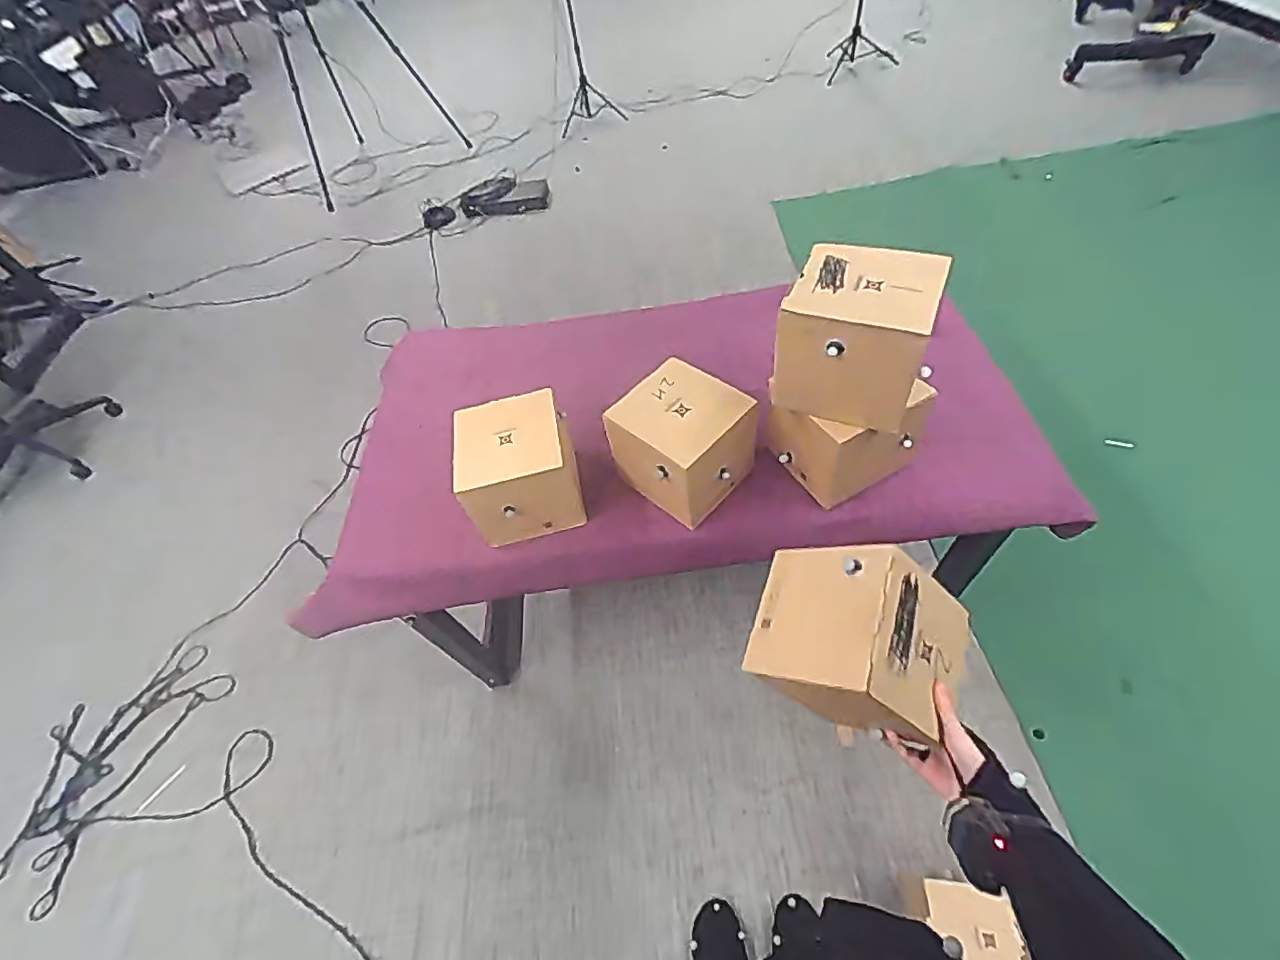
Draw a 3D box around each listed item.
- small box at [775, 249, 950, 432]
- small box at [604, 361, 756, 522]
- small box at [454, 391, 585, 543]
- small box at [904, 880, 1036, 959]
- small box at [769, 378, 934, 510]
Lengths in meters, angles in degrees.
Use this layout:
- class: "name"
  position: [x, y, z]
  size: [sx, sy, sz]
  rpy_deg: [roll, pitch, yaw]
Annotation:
- class: "small box"
  position: [0.295, -0.190, 0.744]
  size: [0.179, 0.176, 0.168]
  rpy_deg: [18, 57, 22]
- class: "small box"
  position: [0.069, -0.055, 0.883]
  size: [0.179, 0.176, 0.168]
  rpy_deg: [36, 65, 29]
- class: "small box"
  position: [-0.196, -0.013, 0.897]
  size: [0.168, 0.176, 0.179]
  rpy_deg: [-14, 52, -2]
- class: "small box"
  position: [0.618, 0.873, 1.029]
  size: [0.179, 0.176, 0.168]
  rpy_deg: [0, 54, 9]
- class: "small box"
  position: [0.323, -0.085, 0.867]
  size: [0.179, 0.176, 0.168]
  rpy_deg: [-27, 52, -10]
